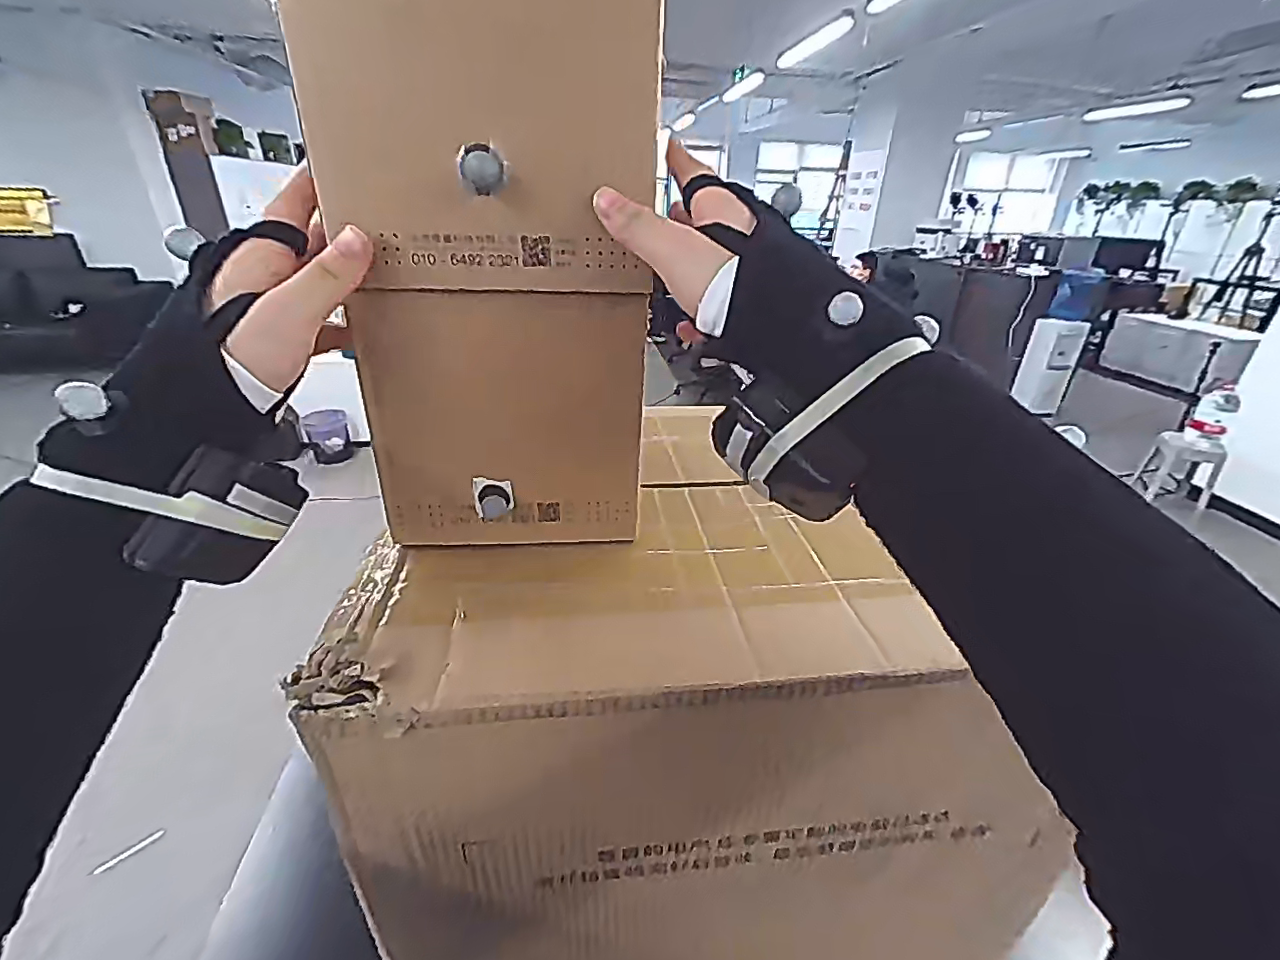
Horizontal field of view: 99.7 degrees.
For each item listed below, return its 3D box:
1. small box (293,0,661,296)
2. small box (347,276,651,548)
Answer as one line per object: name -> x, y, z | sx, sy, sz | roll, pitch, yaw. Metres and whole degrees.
small box -> -0.080, -0.211, 0.322 | 0.168, 0.176, 0.179 | -1, 27, -5
small box -> -0.087, -0.067, 0.401 | 0.168, 0.176, 0.179 | -2, 28, -7
